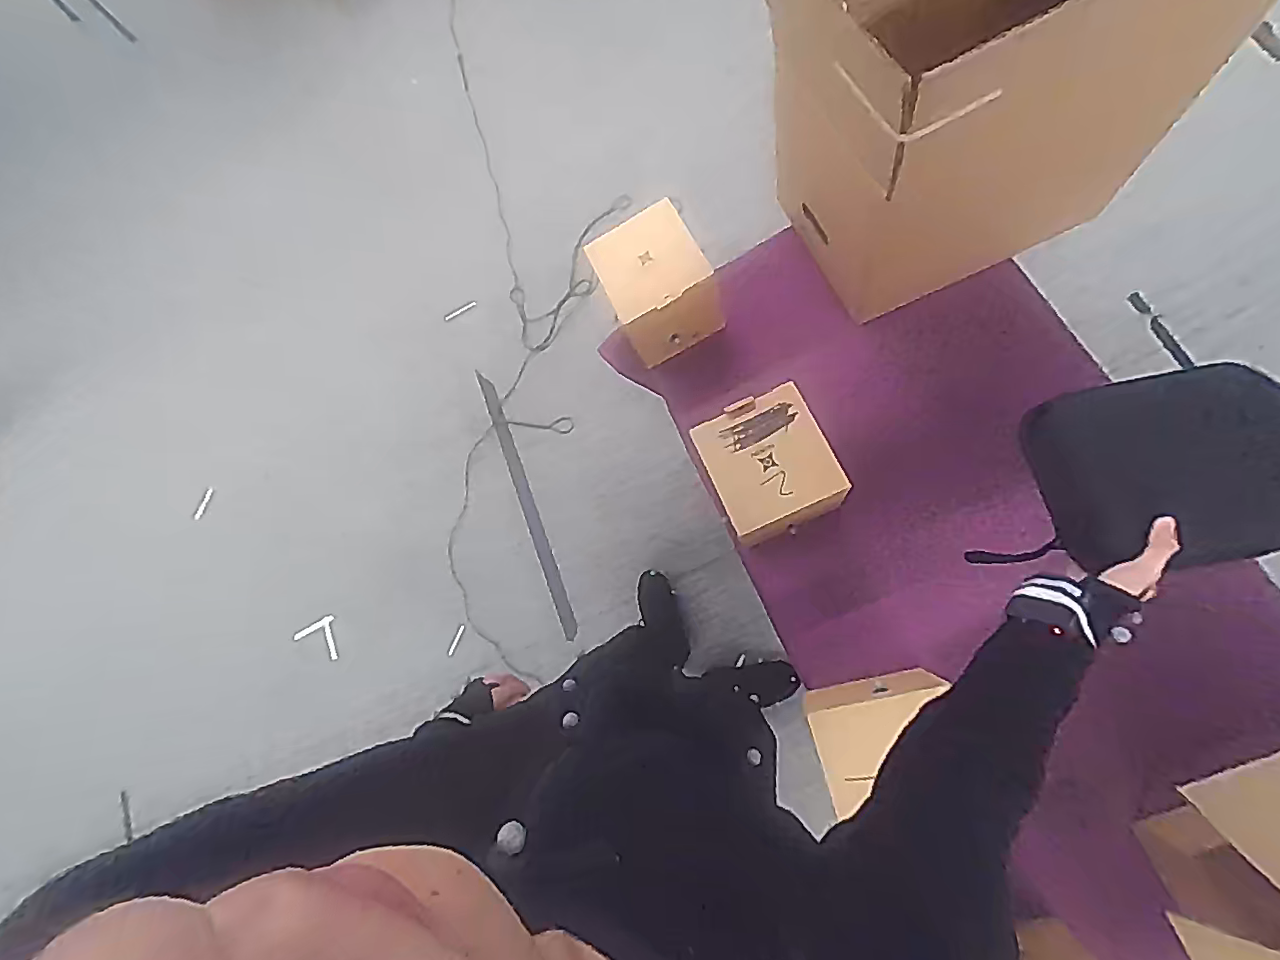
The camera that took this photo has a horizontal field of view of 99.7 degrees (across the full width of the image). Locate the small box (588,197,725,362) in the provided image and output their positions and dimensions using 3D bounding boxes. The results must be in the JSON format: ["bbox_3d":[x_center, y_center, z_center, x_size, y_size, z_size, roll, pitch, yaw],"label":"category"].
[{"bbox_3d":[0.035,-0.341,0.950,0.168,0.176,0.179,-28,73,7],"label":"small box"}]
